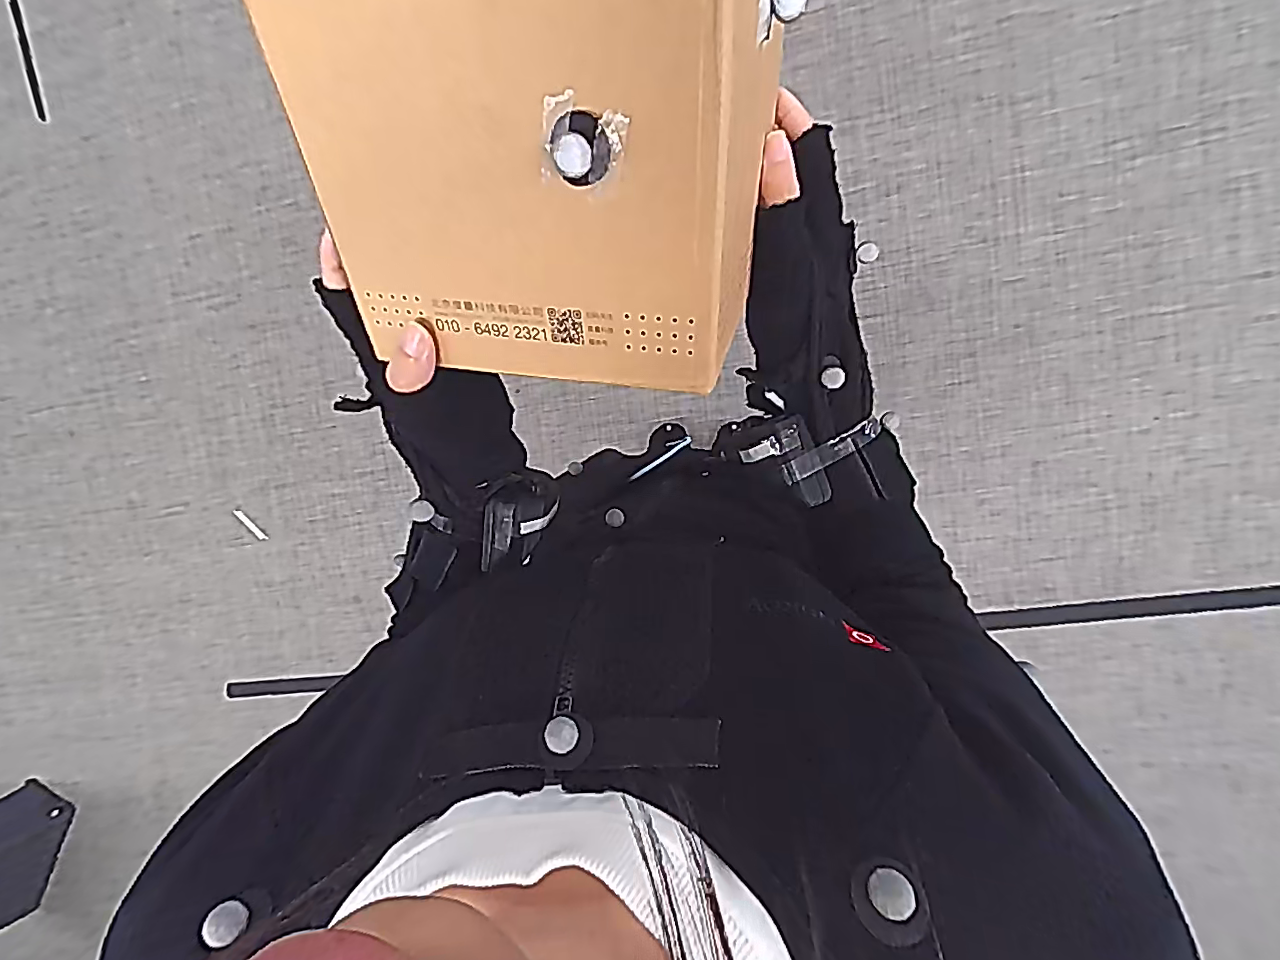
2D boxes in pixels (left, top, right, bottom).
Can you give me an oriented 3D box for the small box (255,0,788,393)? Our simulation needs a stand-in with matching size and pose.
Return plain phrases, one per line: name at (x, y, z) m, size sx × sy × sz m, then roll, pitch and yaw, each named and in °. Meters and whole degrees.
small box at (-0.025, -0.158, 0.260) m, size 0.168 × 0.179 × 0.176 m, roll 10°, pitch 131°, yaw 14°
